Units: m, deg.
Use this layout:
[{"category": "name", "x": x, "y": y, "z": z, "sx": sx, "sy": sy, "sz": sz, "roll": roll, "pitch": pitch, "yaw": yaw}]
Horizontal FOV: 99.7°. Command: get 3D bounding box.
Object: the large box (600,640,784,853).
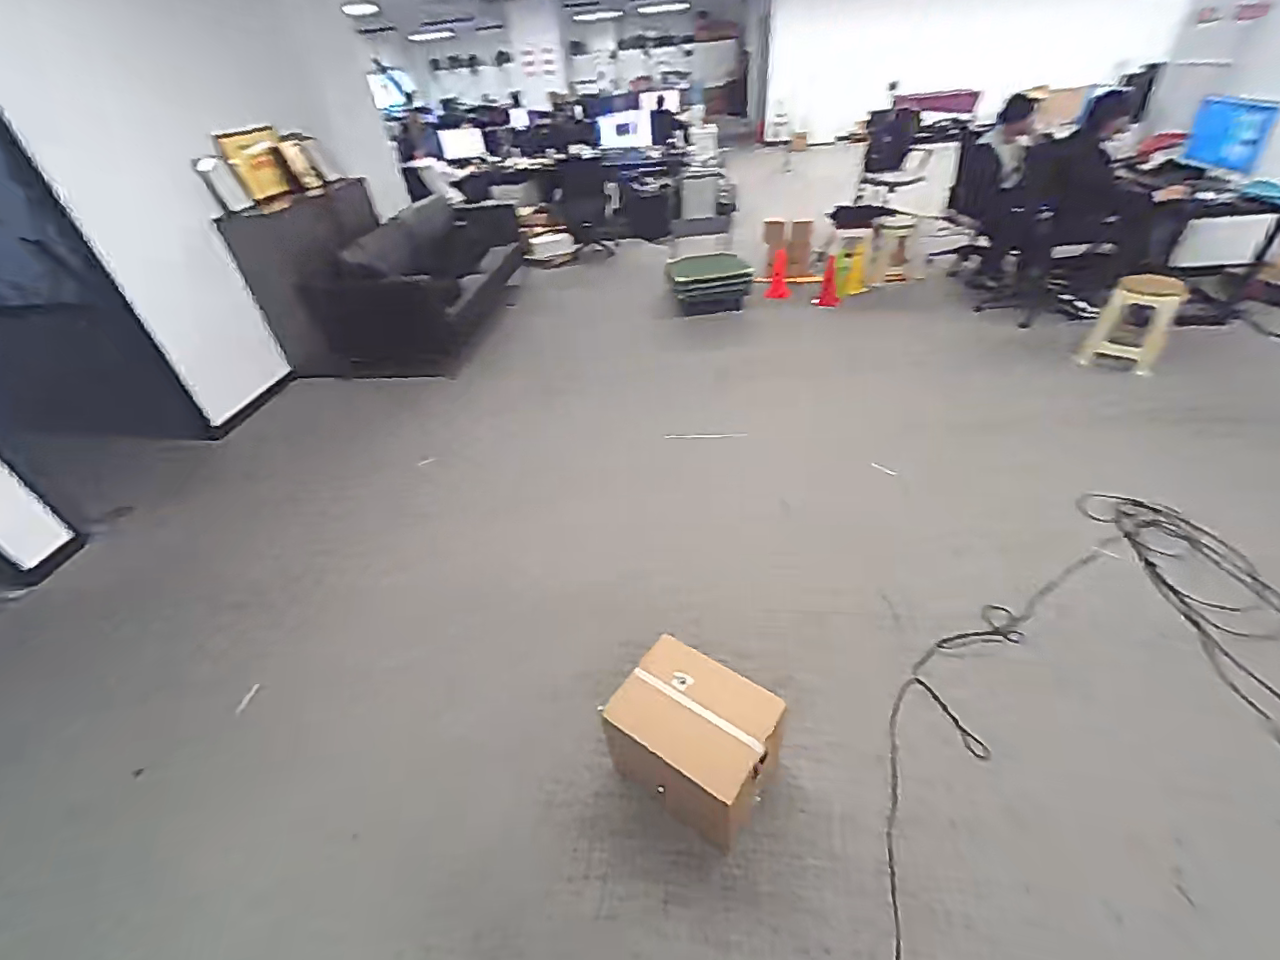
[{"category": "large box", "x": 0.155, "y": 0.737, "z": 1.525, "sx": 0.408, "sy": 0.320, "sz": 0.320, "roll": 20, "pitch": 44, "yaw": 32}]
